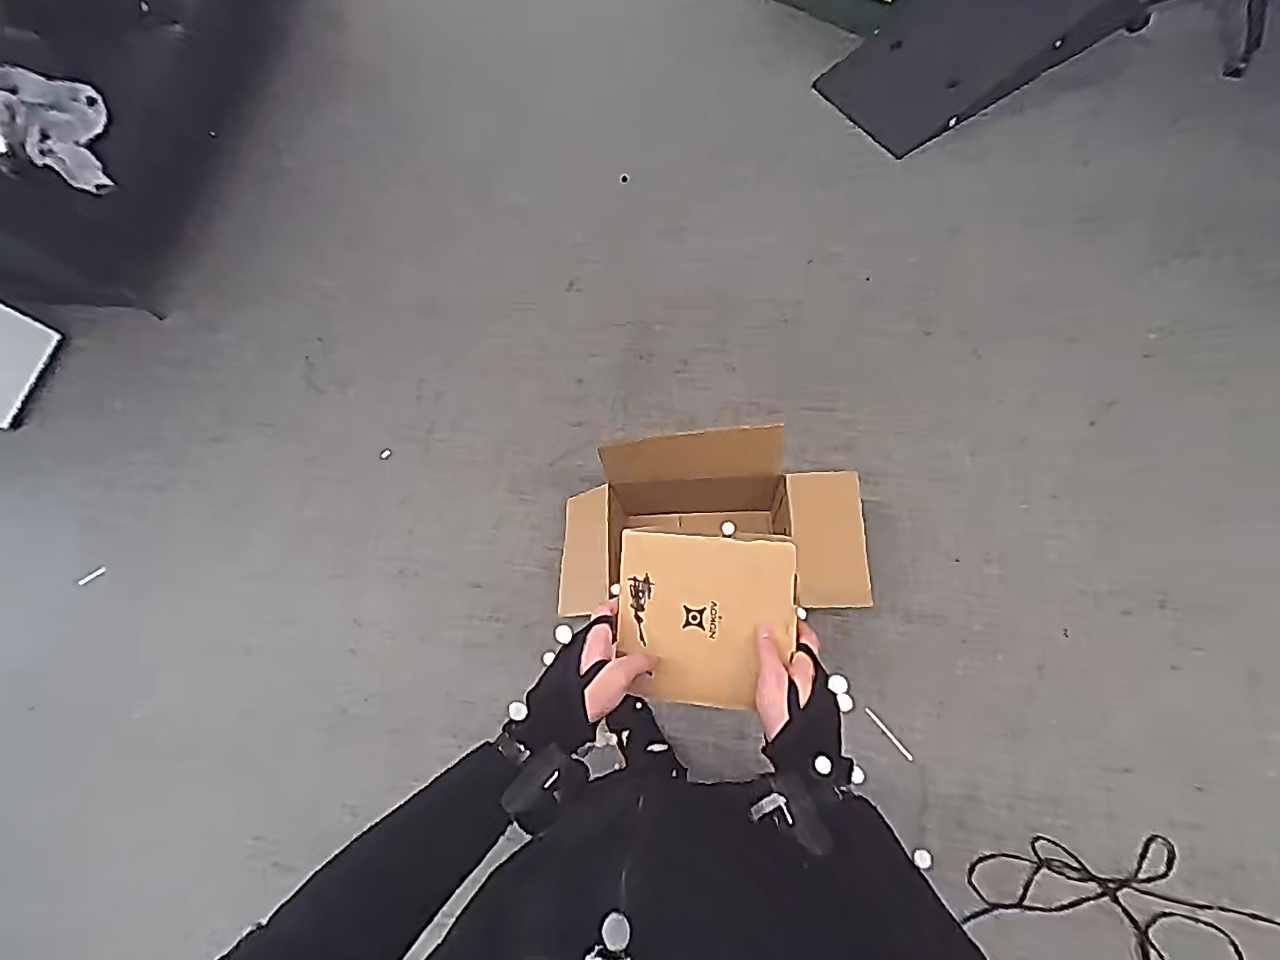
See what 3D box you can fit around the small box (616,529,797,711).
[{"bbox_3d":[0.080,0.143,0.617,0.179,0.176,0.168,2,86,13],"label":"small box"}]
